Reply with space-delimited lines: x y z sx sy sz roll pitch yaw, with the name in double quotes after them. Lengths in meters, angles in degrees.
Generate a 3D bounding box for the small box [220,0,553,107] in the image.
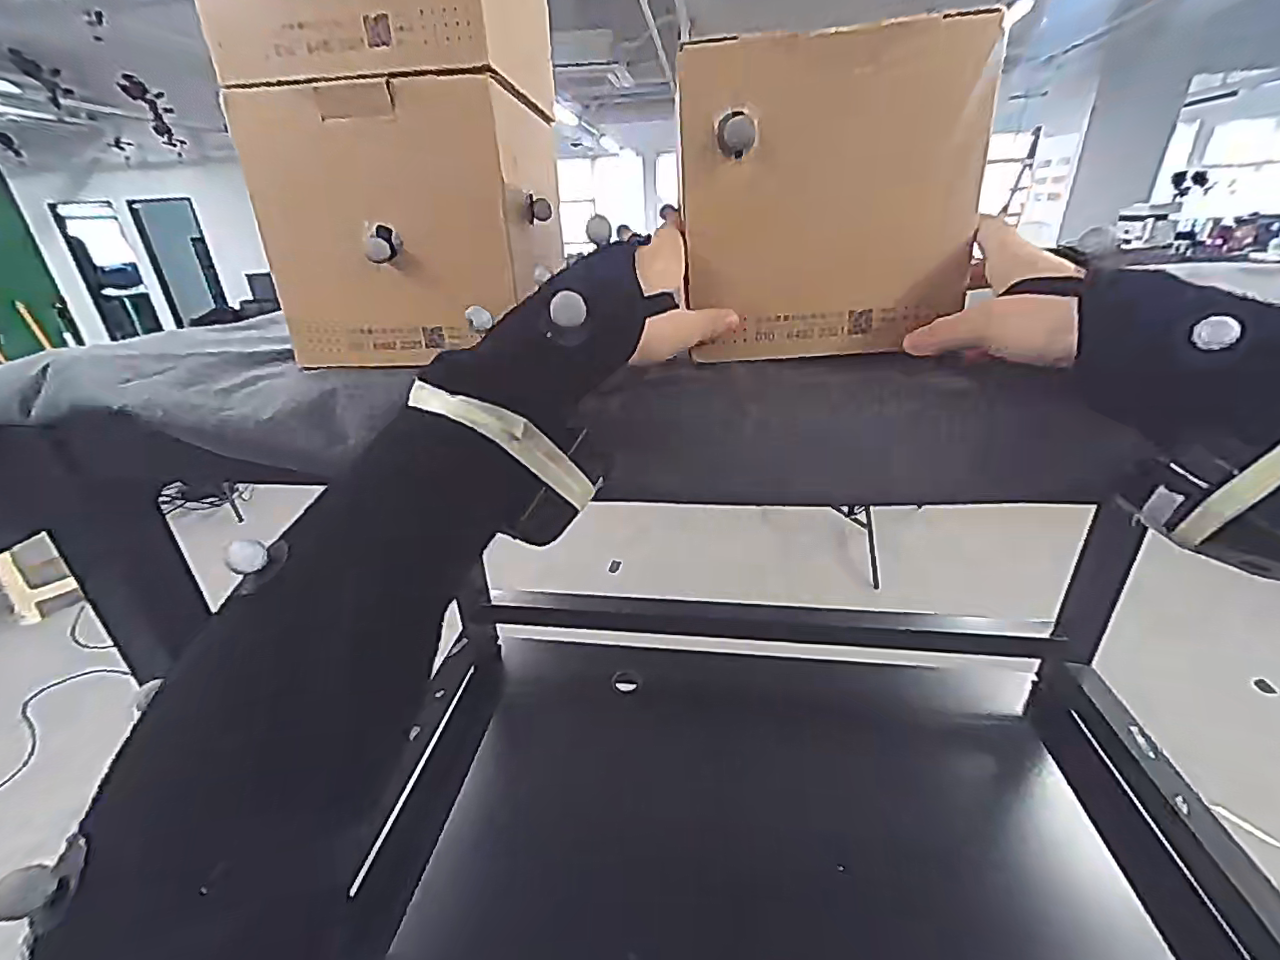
-0.157 -0.343 0.348 0.168 0.176 0.179 -1 25 5 "small box"

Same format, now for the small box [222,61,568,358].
-0.153 -0.192 0.415 0.168 0.176 0.179 0 25 4 "small box"
